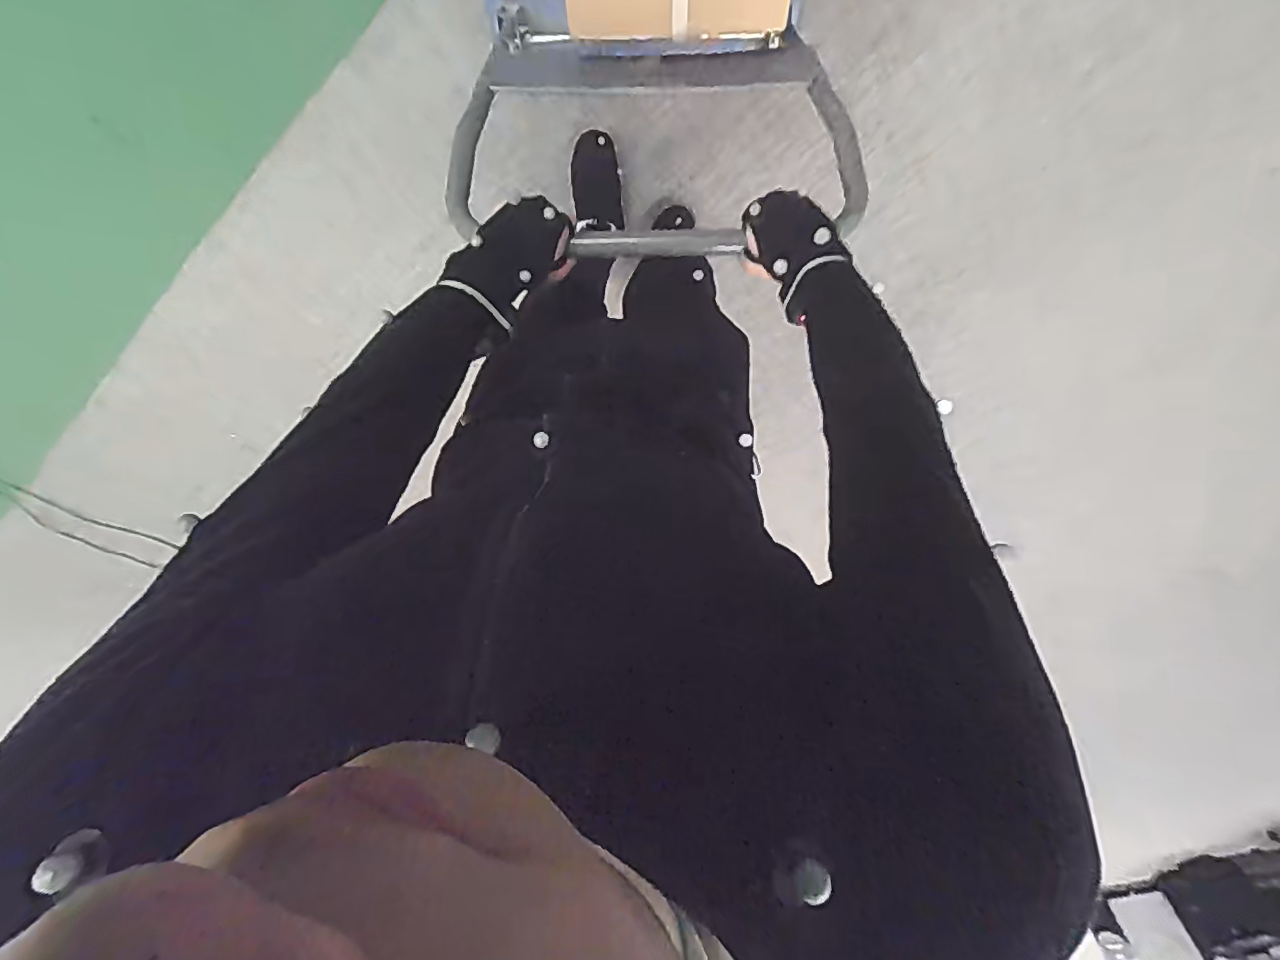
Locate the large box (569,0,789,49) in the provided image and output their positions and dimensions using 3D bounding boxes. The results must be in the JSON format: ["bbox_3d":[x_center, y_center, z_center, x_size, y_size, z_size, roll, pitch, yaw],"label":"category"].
[{"bbox_3d":[0.051,-0.883,0.743,0.320,0.320,0.408,-1,140,0],"label":"large box"}]
